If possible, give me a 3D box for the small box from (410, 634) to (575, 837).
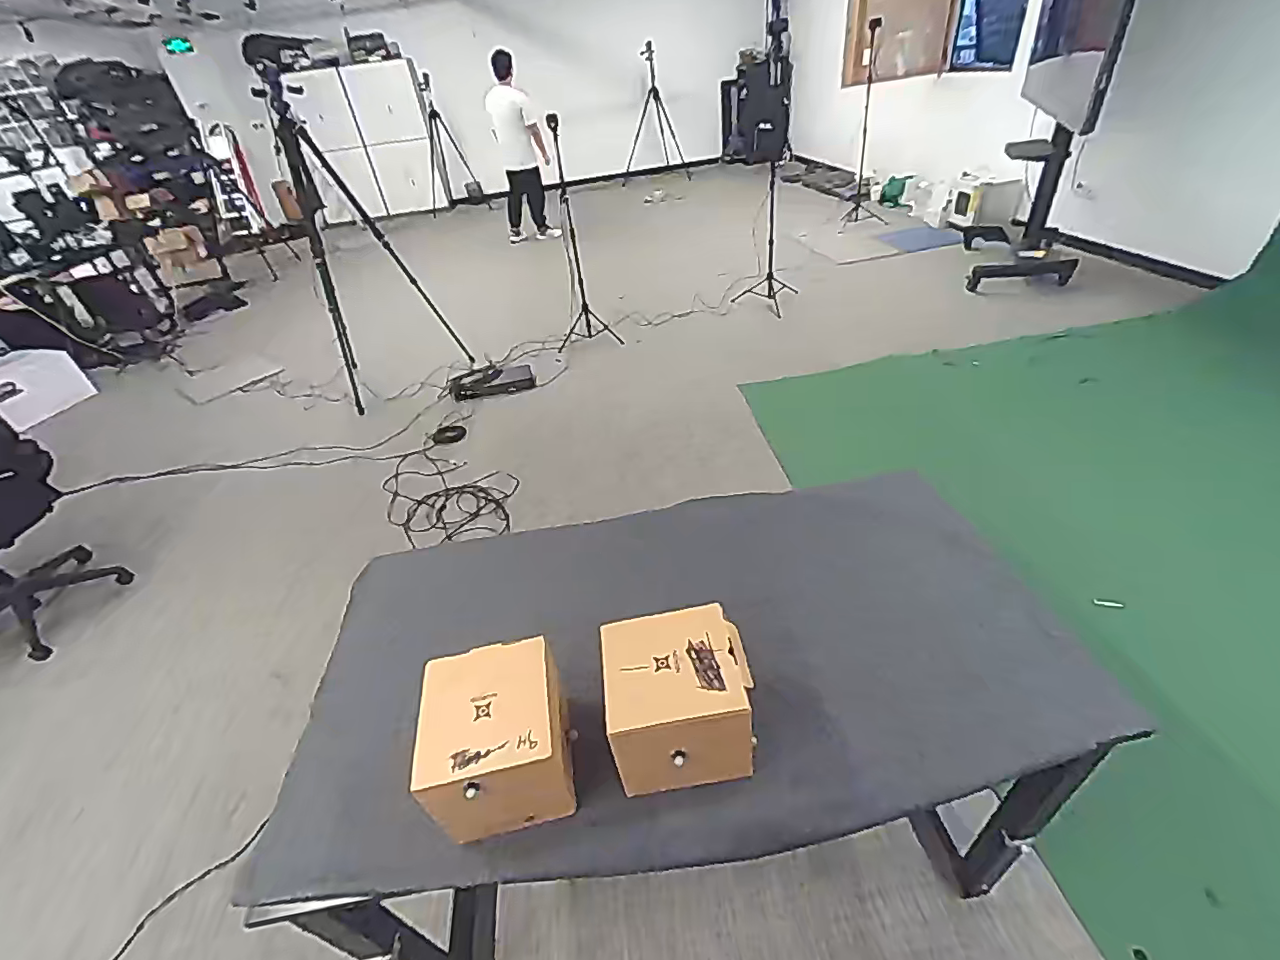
[{"bbox_3d":[-0.188,0.345,0.735,0.168,0.176,0.179,-12,38,-3],"label":"small box"}]
